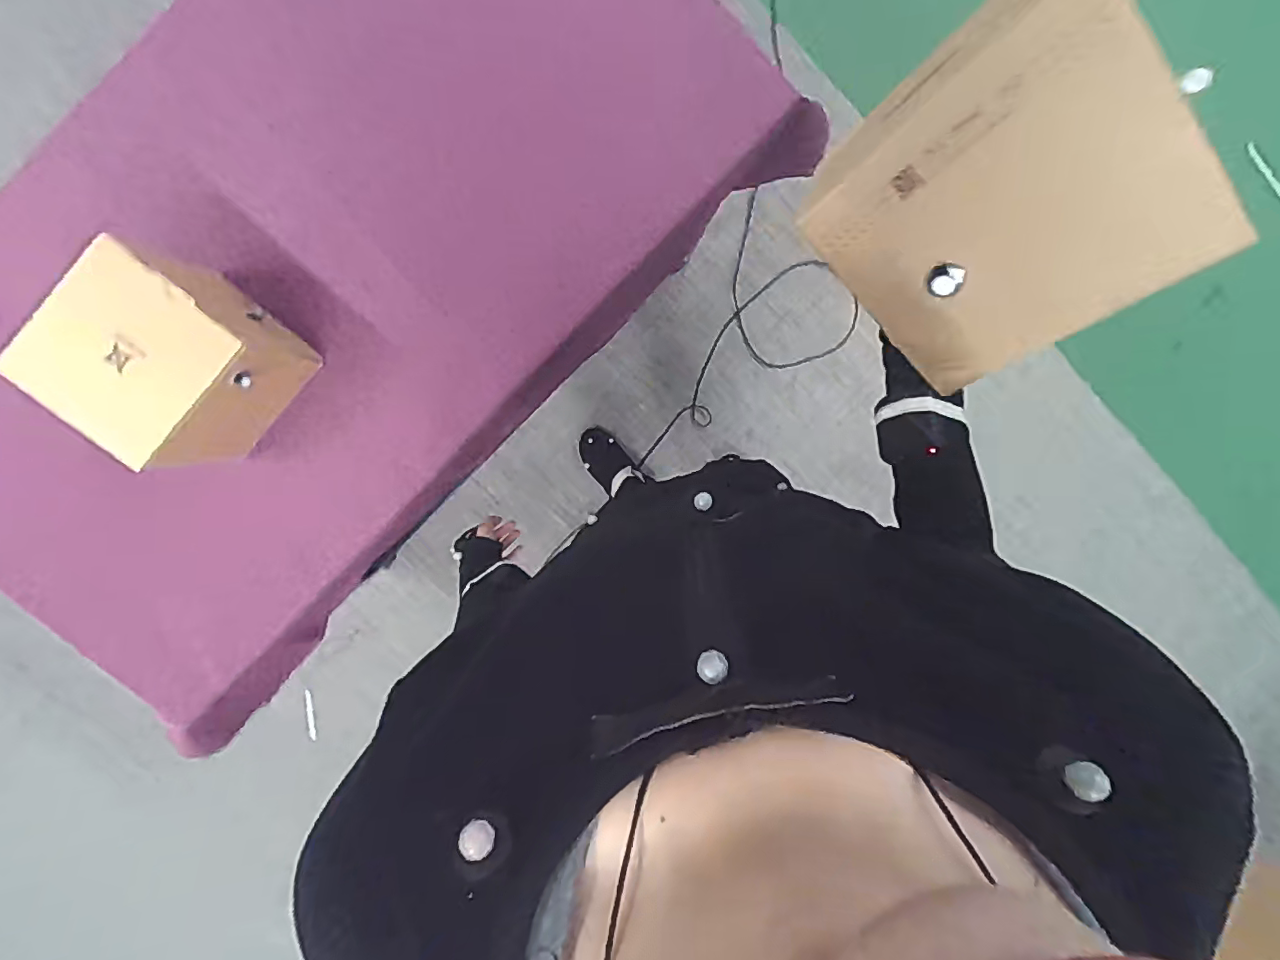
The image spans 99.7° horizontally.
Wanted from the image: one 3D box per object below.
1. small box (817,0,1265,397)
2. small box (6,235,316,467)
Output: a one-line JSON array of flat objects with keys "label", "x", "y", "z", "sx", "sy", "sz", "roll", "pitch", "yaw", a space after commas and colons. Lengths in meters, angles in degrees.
[{"label": "small box", "x": 0.239, "y": -0.196, "z": 0.362, "sx": 0.176, "sy": 0.179, "sz": 0.168, "roll": 43, "pitch": 136, "yaw": -17}, {"label": "small box", "x": -0.526, "y": -0.135, "z": 0.627, "sx": 0.168, "sy": 0.176, "sz": 0.179, "roll": 40, "pitch": 91, "yaw": -7}]
